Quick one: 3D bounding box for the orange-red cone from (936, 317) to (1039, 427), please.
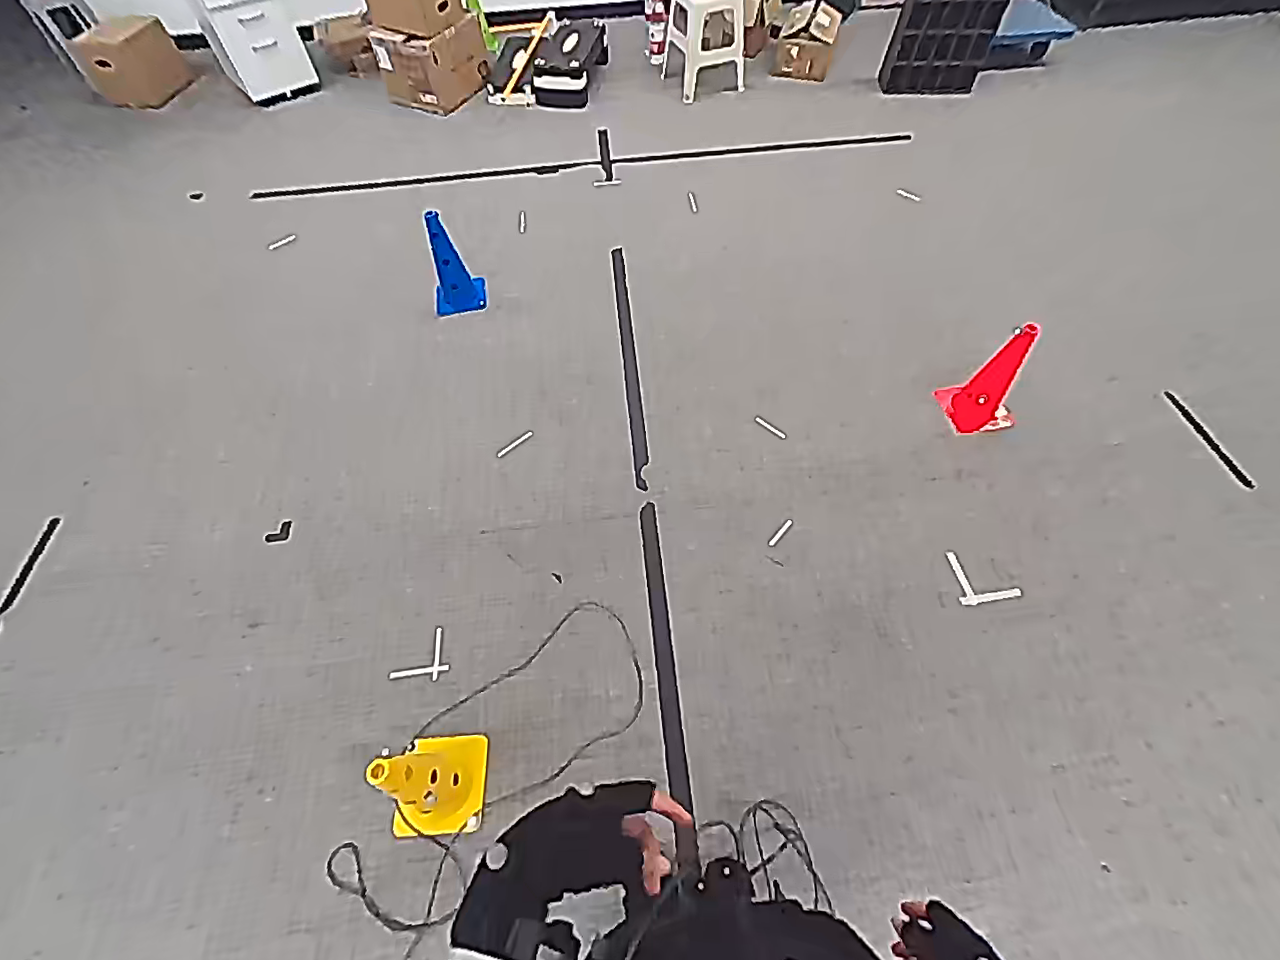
[{"bbox_3d":[1.118,-0.356,1.681,0.198,0.360,0.199,-10,56,-5],"label":"orange-red cone"}]

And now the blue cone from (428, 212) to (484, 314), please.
[{"bbox_3d":[-0.740,-0.838,2.070,0.192,0.380,0.193,-11,57,-5],"label":"blue cone"}]
